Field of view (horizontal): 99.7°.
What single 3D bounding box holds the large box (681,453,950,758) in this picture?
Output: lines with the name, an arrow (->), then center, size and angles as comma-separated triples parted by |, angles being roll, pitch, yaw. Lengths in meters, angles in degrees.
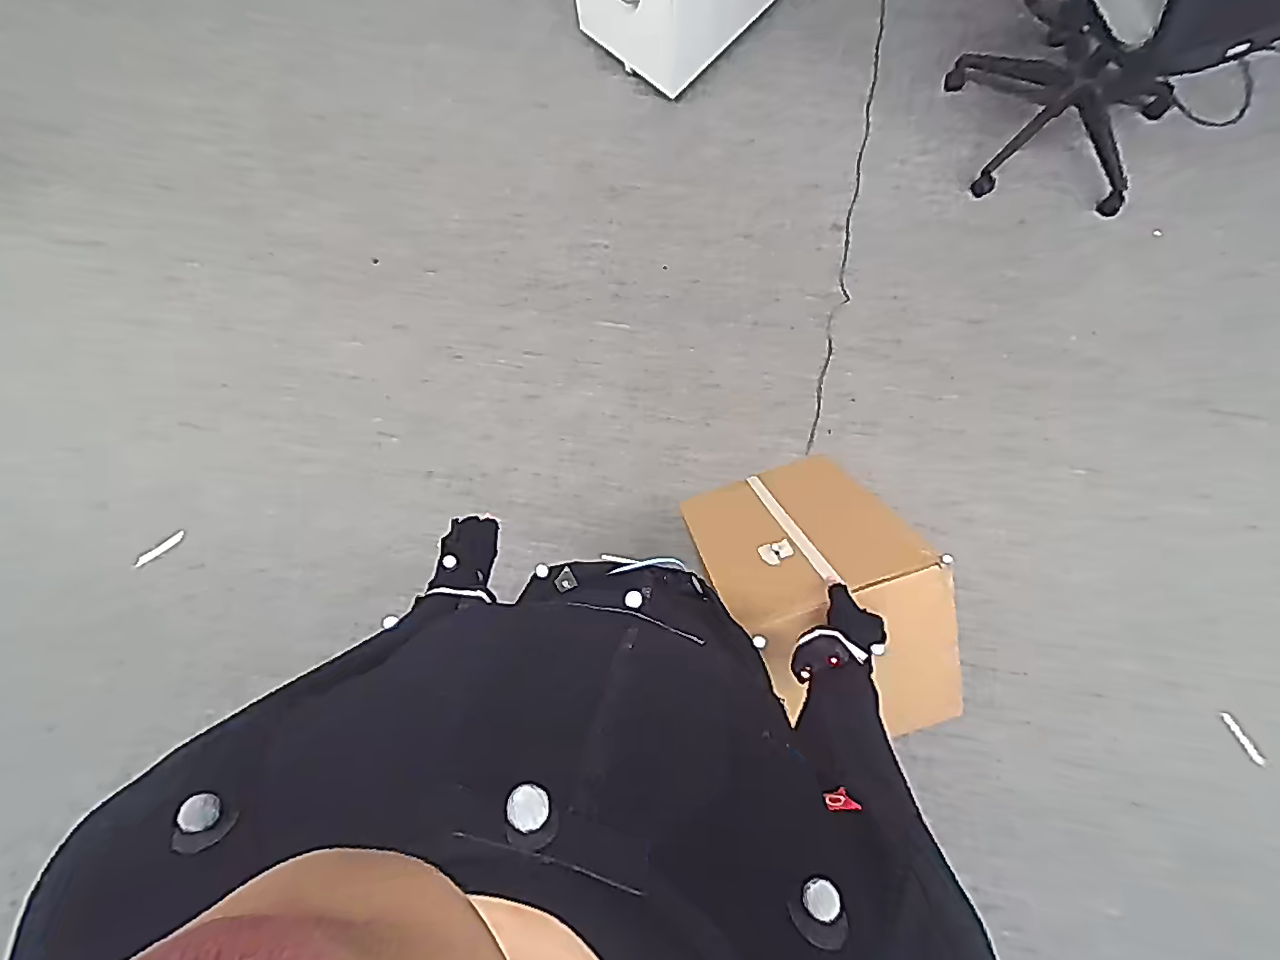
large box -> 0.296, 0.201, 0.989 | 0.320, 0.408, 0.320 | -20, 116, 2
